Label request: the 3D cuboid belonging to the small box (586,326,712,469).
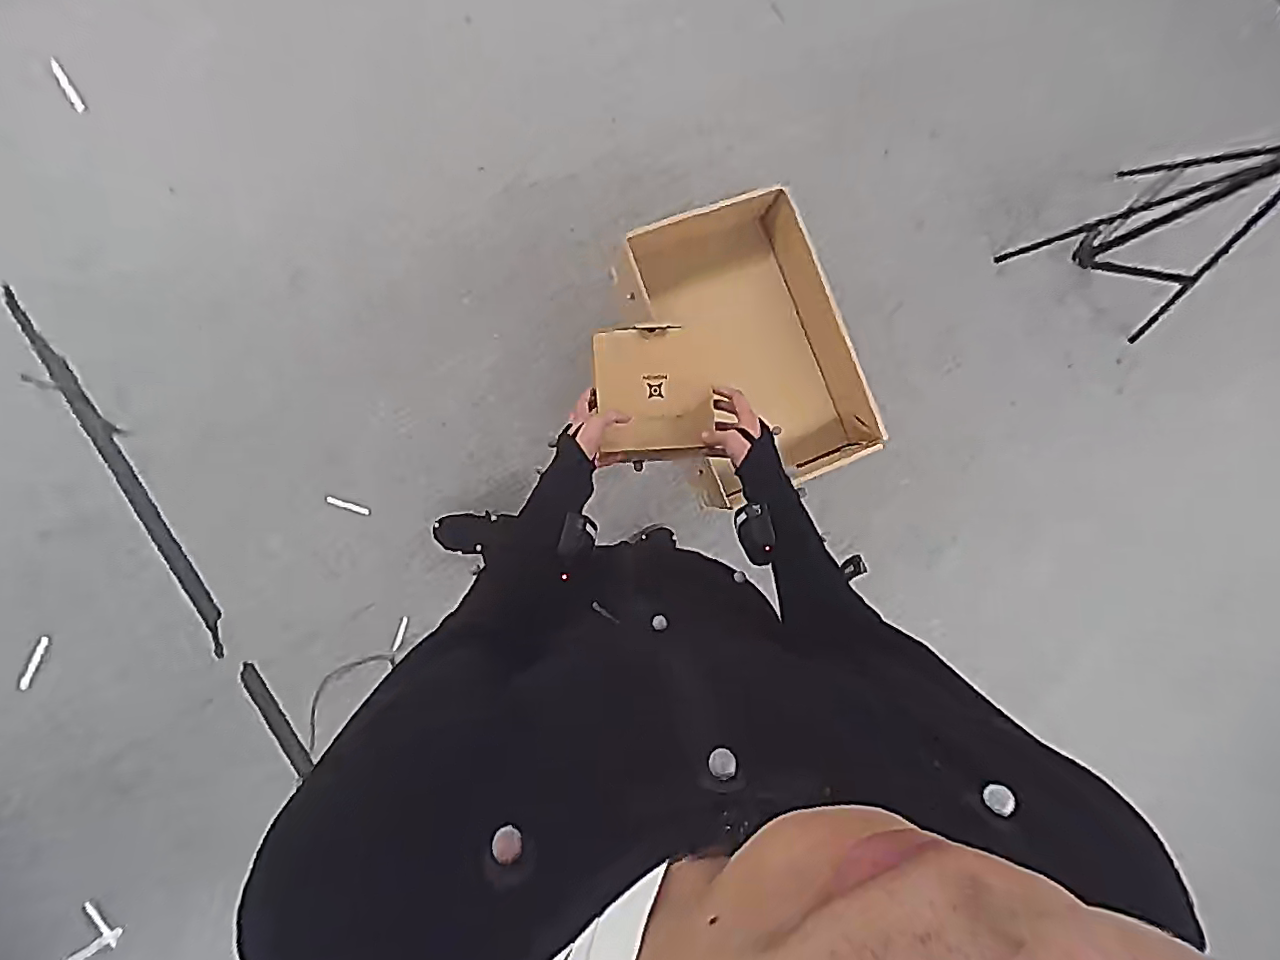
[{"bbox_3d":[0.004,-0.117,0.822,0.168,0.176,0.179,-4,85,-6],"label":"small box"}]
